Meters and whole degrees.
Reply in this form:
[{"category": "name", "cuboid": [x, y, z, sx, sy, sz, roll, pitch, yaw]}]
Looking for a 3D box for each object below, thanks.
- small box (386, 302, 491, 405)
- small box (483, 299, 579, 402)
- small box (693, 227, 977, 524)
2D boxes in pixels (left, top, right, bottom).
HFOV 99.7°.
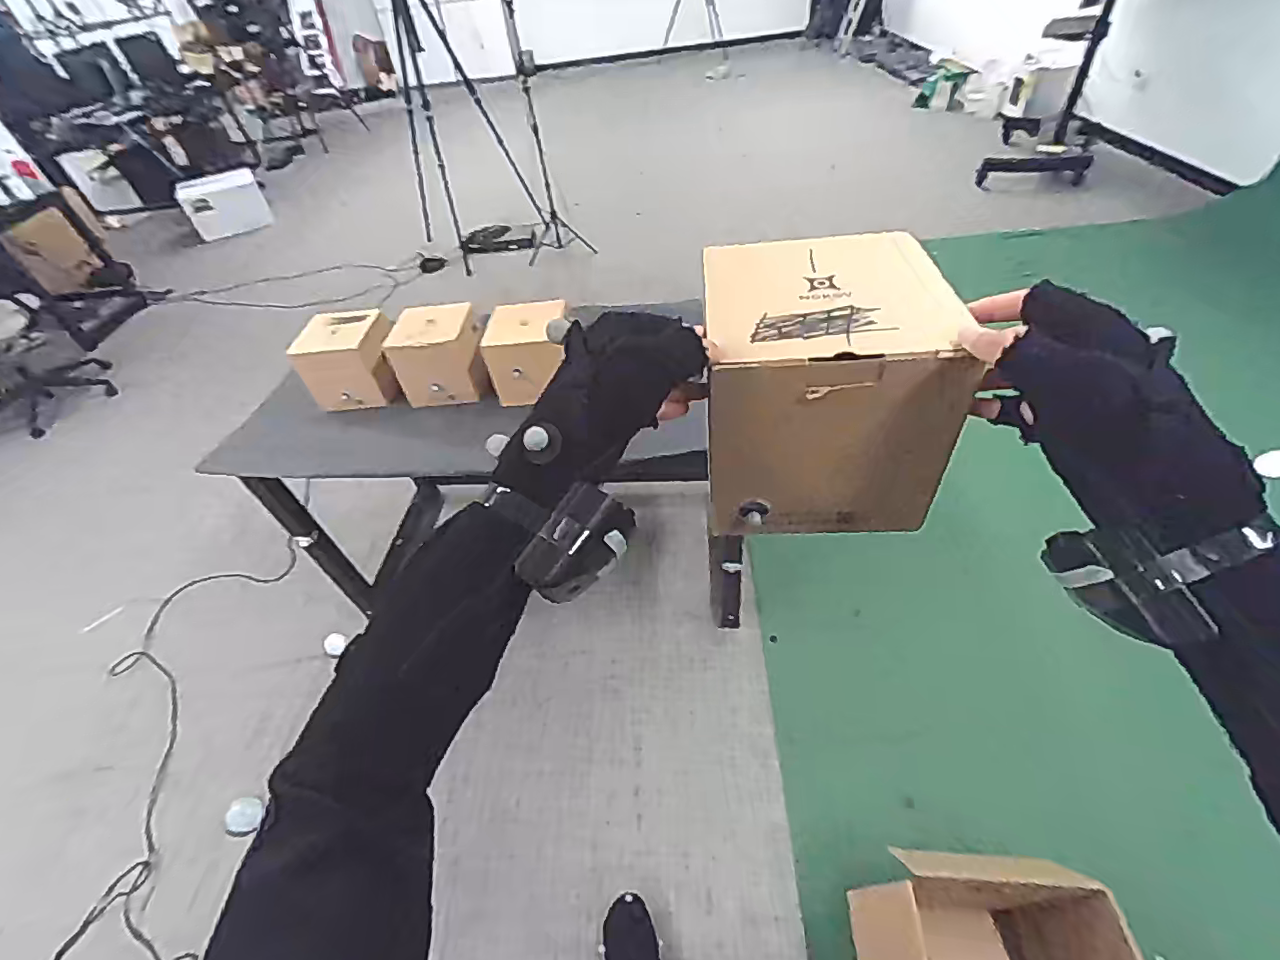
[{"category": "small box", "cuboid": [-0.462, -0.298, 1.277, 0.168, 0.176, 0.179, -4, 46, 4]}, {"category": "small box", "cuboid": [-0.240, -0.291, 1.241, 0.168, 0.176, 0.179, -4, 45, 5]}, {"category": "small box", "cuboid": [0.129, -0.078, 0.432, 0.168, 0.176, 0.179, -2, 45, 7]}]
